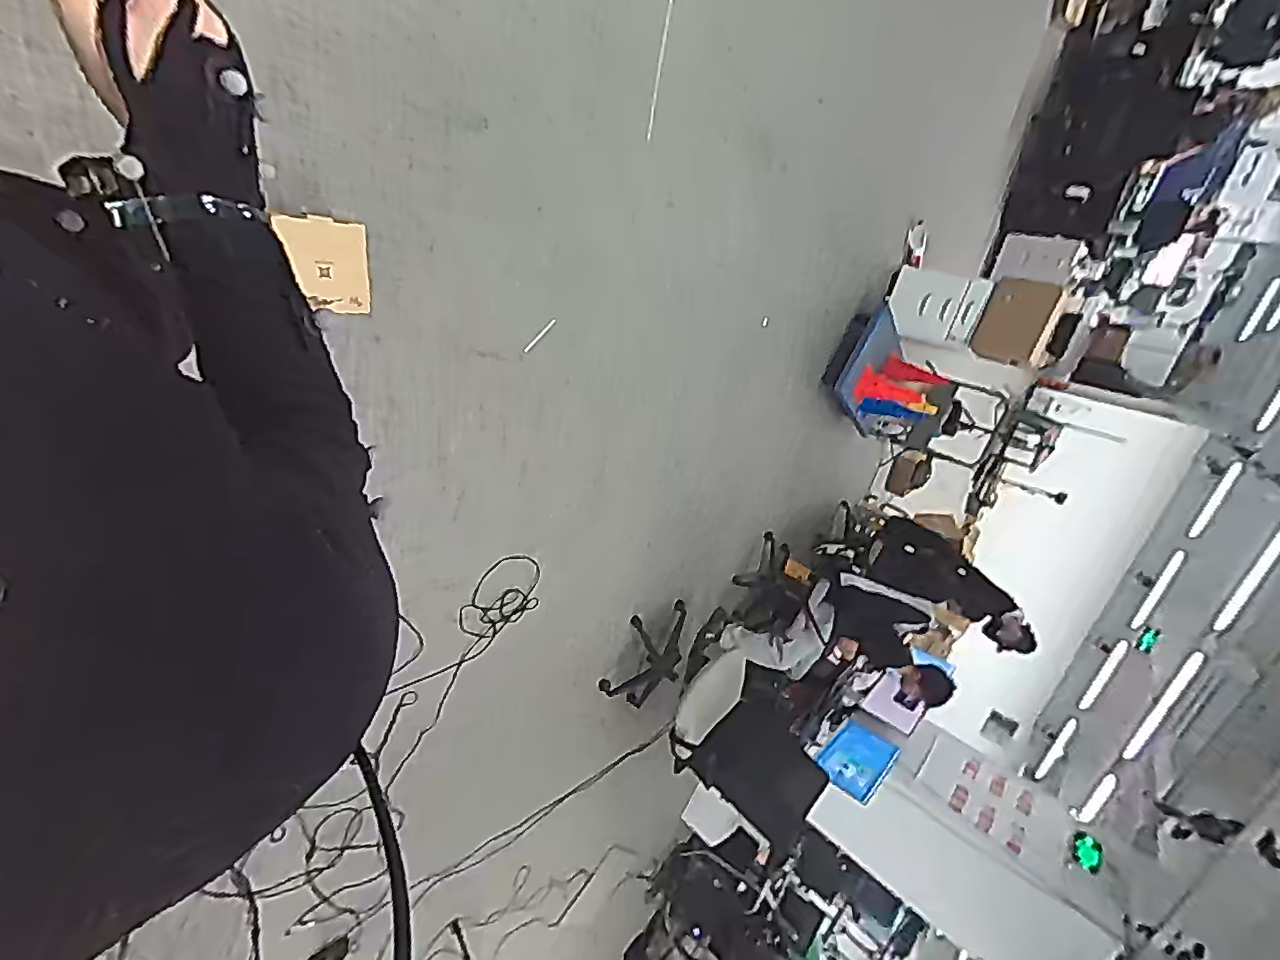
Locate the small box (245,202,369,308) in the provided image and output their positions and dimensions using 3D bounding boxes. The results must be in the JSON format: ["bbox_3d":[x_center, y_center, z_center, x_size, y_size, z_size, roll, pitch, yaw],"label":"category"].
[{"bbox_3d":[-0.672,-0.454,1.094,0.168,0.176,0.179,-17,125,-44],"label":"small box"}]
